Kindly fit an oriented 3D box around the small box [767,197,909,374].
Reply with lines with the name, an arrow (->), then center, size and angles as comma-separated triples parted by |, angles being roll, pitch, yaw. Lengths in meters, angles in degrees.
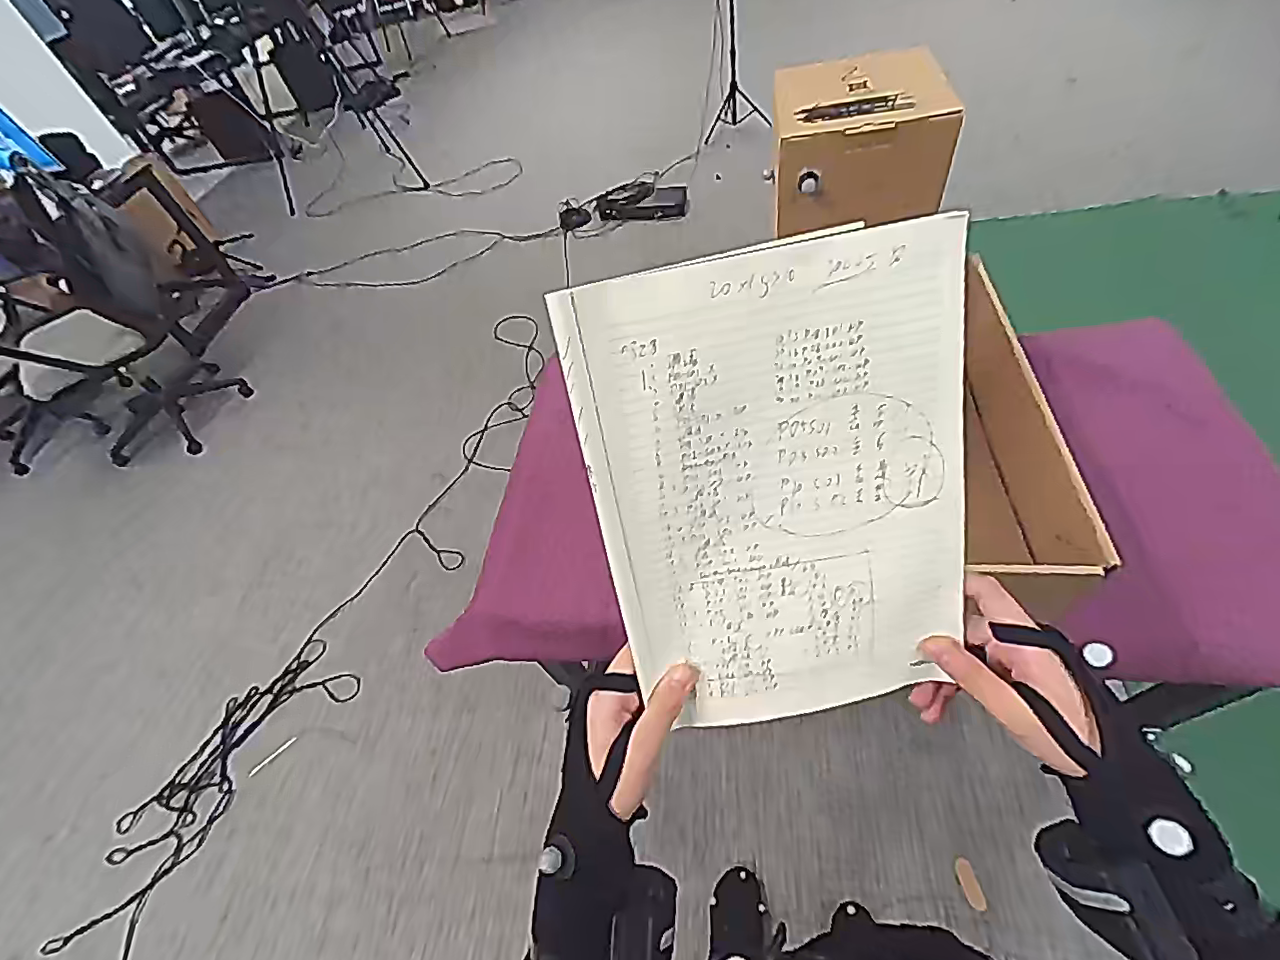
small box -> 0.265, -0.262, 0.760 | 0.168, 0.176, 0.179 | 0, 54, 13
